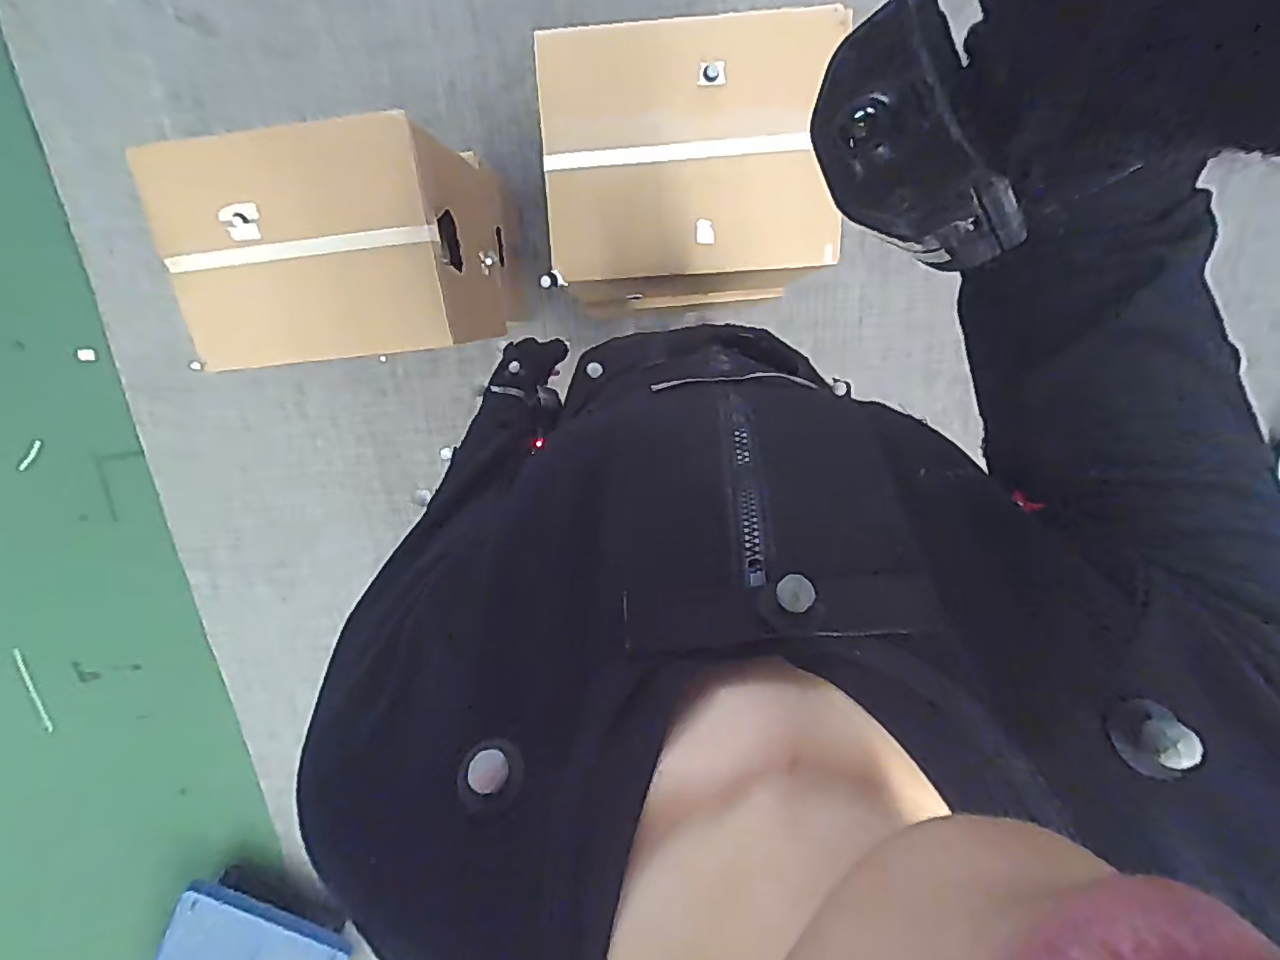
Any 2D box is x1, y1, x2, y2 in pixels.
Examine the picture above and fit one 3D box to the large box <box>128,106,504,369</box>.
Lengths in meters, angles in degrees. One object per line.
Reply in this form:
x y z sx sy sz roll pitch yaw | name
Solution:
-0.492 -0.383 0.920 0.408 0.320 0.320 -5 107 4 | large box
